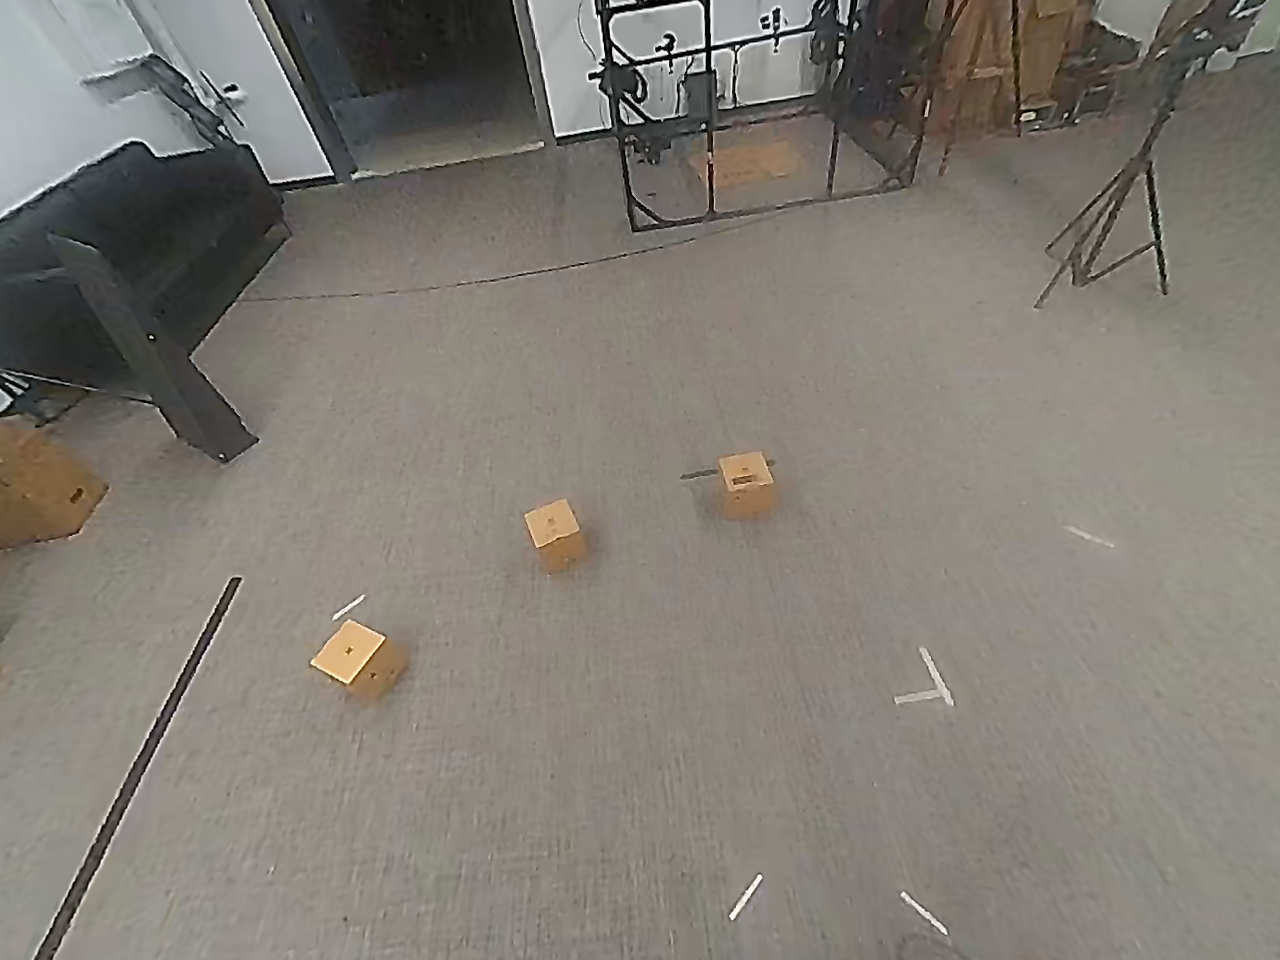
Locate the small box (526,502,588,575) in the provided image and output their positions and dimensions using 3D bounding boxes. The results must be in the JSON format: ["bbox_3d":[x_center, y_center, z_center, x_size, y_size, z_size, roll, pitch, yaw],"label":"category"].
[{"bbox_3d":[-0.305,0.218,1.996,0.168,0.176,0.179,-23,48,-11],"label":"small box"}]

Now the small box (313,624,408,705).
[{"bbox_3d":[-0.889,0.598,1.738,0.179,0.176,0.168,15,52,22],"label":"small box"}]
